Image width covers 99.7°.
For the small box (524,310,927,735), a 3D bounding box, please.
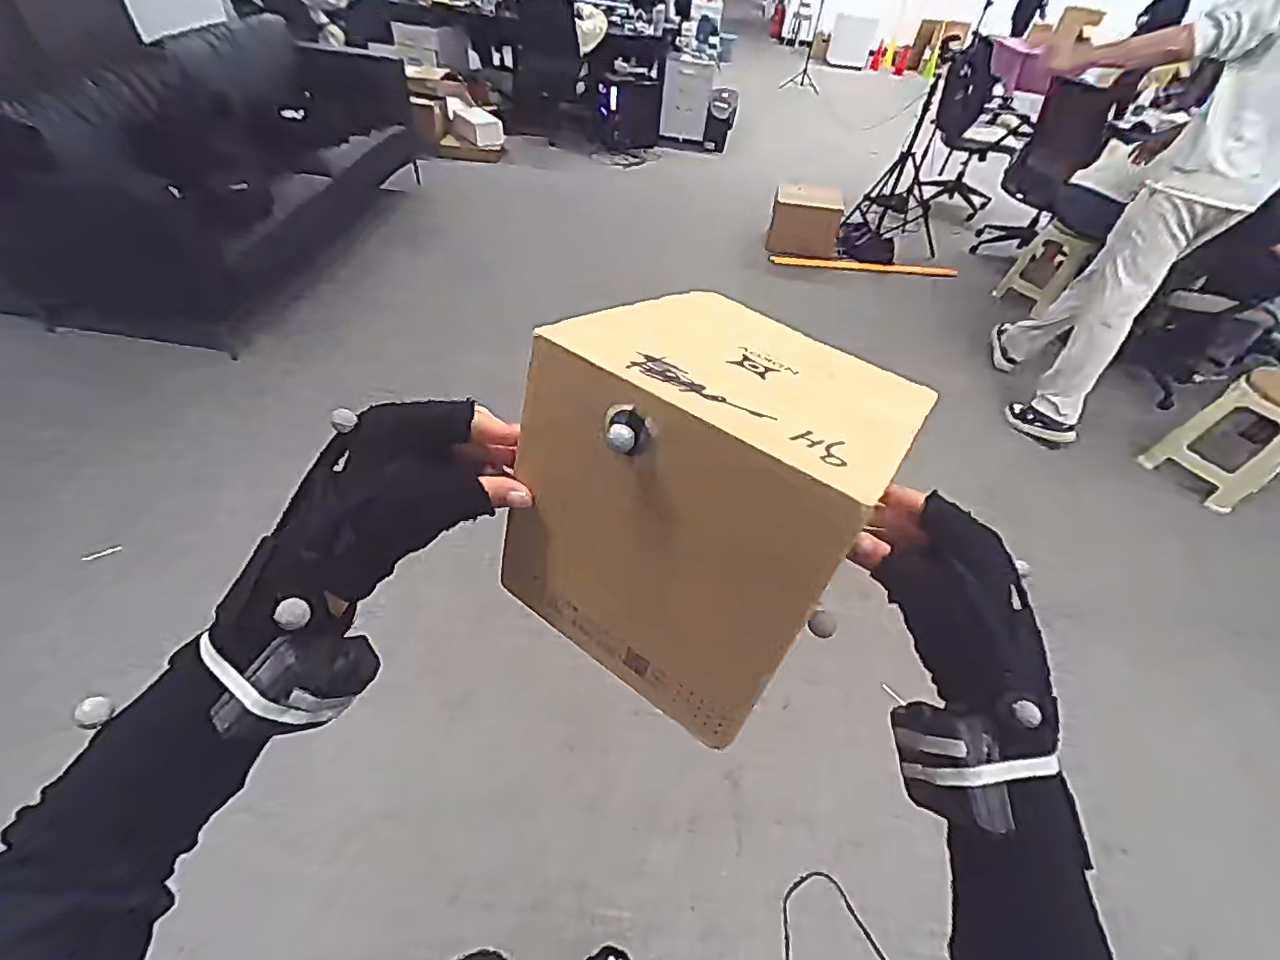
[{"bbox_3d":[0.047,0.010,0.339,0.168,0.176,0.179,30,34,21],"label":"small box"}]
